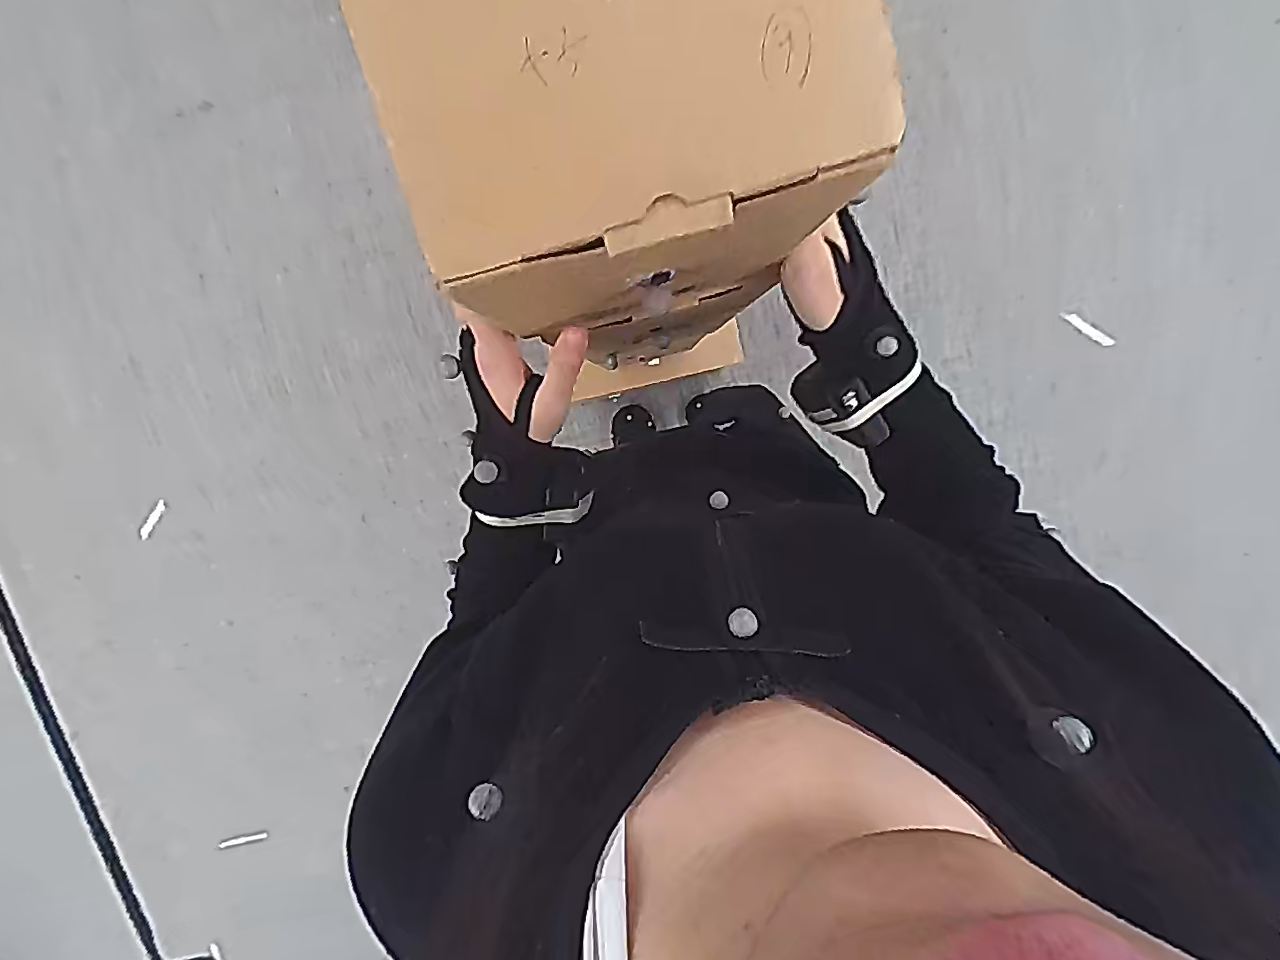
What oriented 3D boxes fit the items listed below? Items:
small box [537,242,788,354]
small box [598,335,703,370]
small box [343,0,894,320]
[{"bbox_3d":[-0.004,-0.206,0.412,0.168,0.176,0.179,-14,99,3],"label":"small box"},{"bbox_3d":[-0.002,-0.289,0.898,0.168,0.176,0.179,-14,99,3],"label":"small box"},{"bbox_3d":[-0.016,-0.181,0.248,0.168,0.176,0.179,-16,100,1],"label":"small box"}]
